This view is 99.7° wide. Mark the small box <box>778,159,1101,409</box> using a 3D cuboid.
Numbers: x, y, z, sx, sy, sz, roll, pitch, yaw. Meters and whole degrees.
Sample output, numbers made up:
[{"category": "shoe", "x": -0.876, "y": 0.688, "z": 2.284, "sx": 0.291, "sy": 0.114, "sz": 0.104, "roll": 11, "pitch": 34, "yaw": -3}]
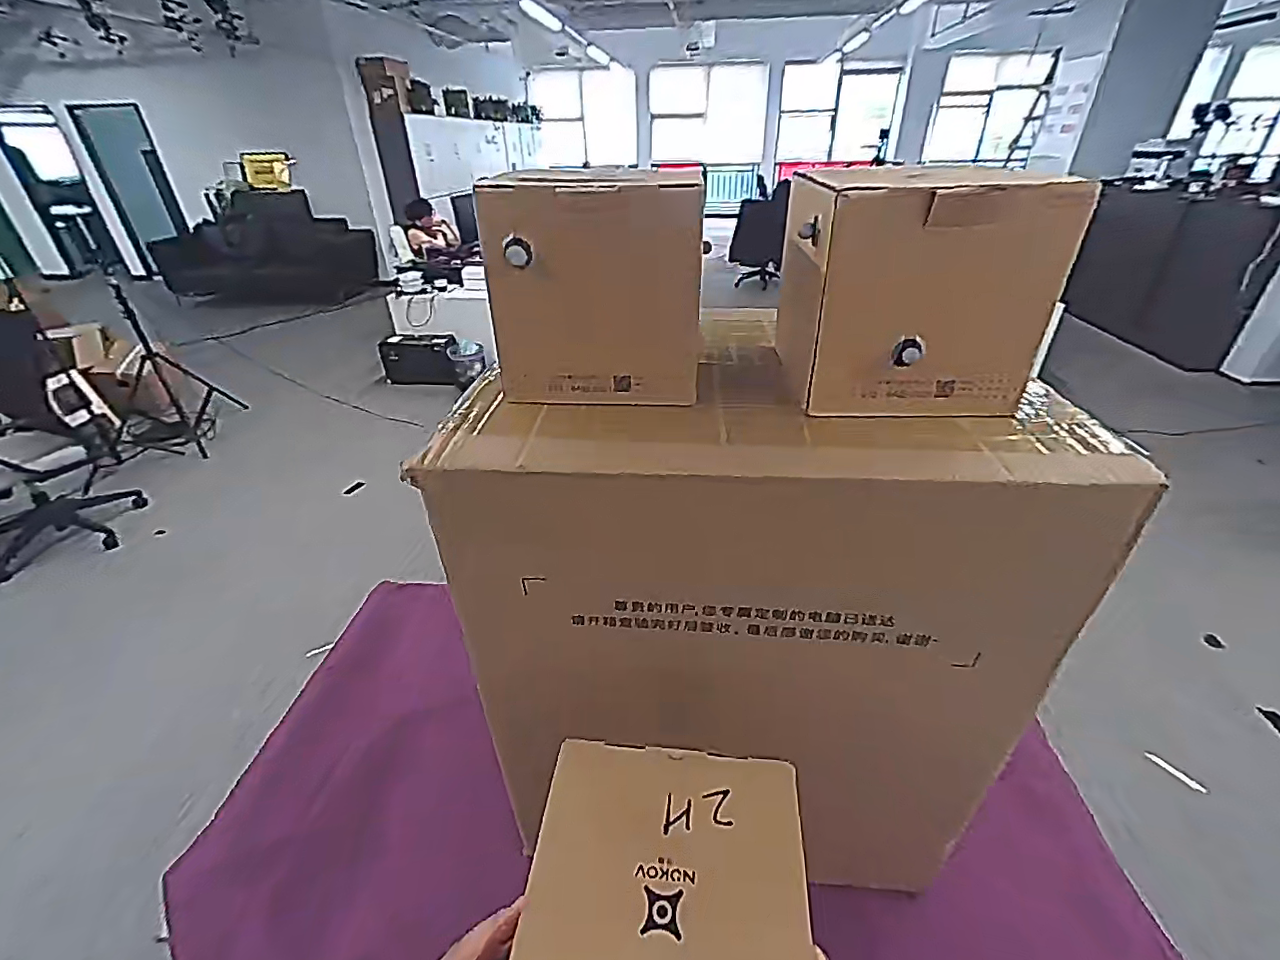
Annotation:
[{"category": "small box", "x": 0.219, "y": -0.172, "z": 0.461, "sx": 0.168, "sy": 0.176, "sz": 0.179, "roll": 0, "pitch": 33, "yaw": 4}]
